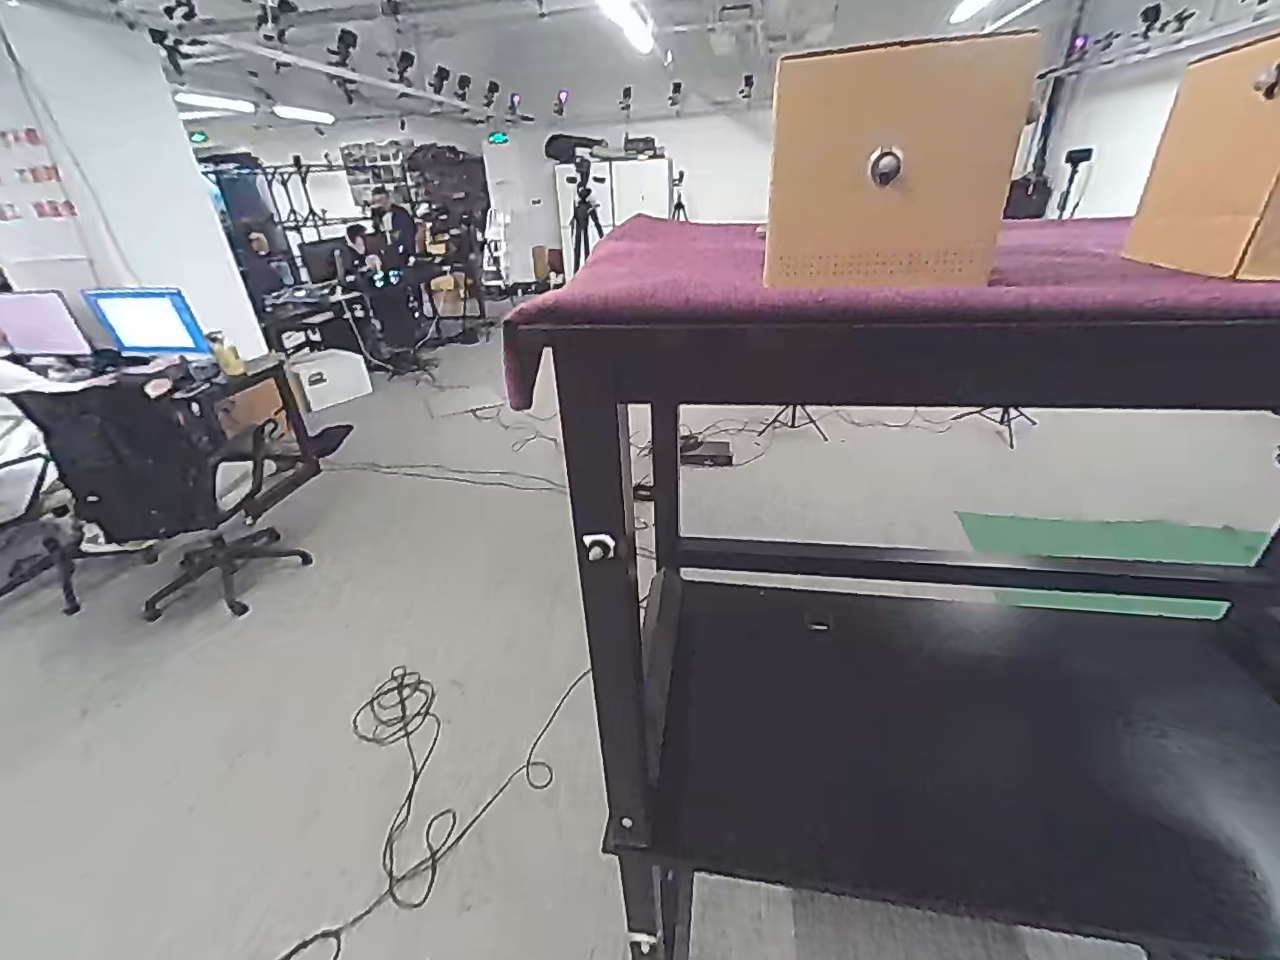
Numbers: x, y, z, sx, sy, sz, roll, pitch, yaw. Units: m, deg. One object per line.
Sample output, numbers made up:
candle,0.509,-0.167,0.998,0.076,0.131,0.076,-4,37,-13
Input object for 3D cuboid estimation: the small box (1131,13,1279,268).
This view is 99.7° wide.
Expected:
small box,0.547,-0.263,0.425,0.168,0.176,0.179,4,29,14
